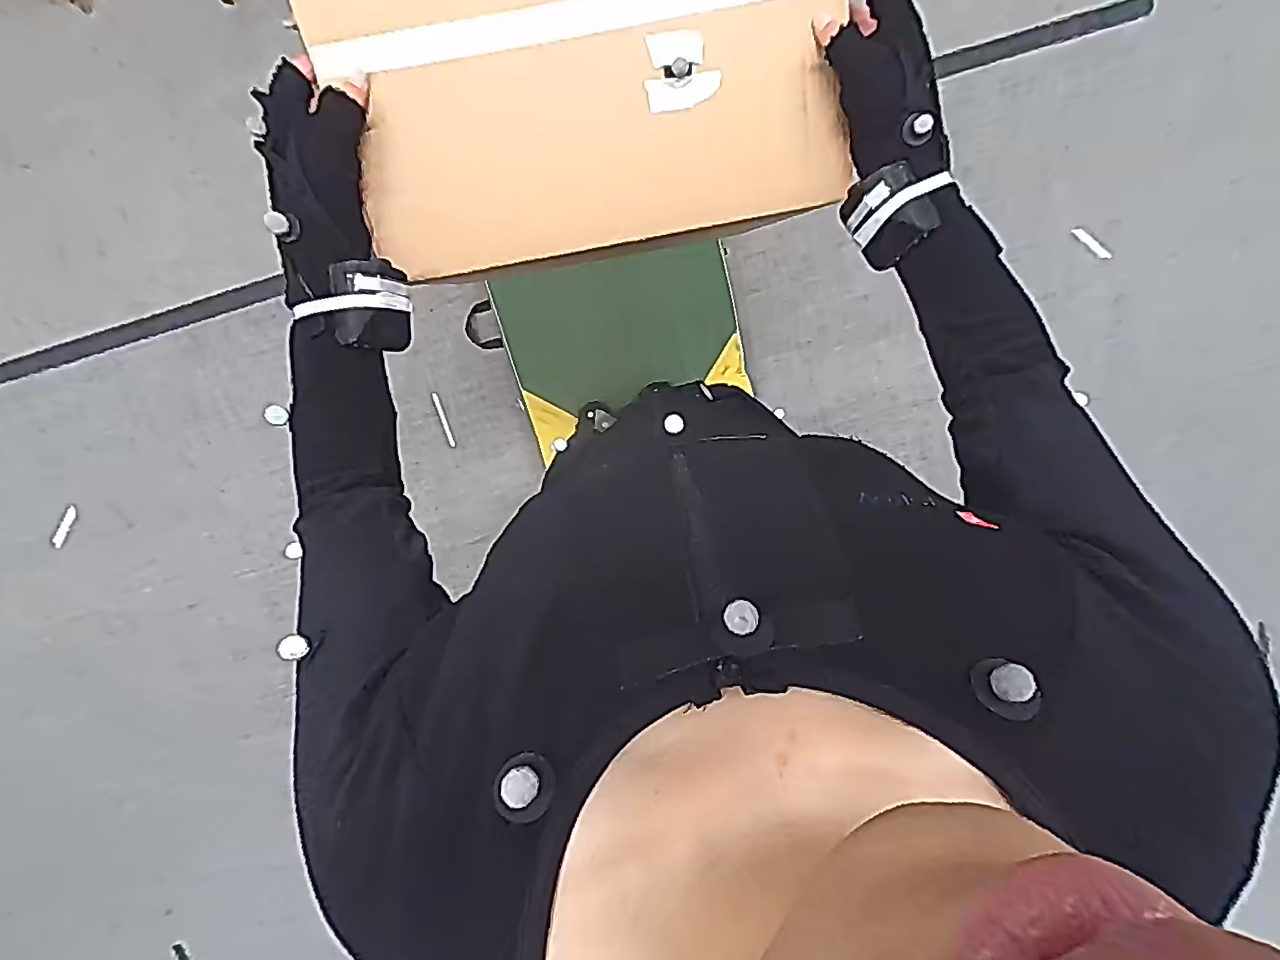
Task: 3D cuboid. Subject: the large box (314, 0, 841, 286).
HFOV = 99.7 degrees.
[{"bbox_3d":[-0.059,-0.403,0.565,0.408,0.320,0.320,-12,111,-2],"label":"large box"}]
